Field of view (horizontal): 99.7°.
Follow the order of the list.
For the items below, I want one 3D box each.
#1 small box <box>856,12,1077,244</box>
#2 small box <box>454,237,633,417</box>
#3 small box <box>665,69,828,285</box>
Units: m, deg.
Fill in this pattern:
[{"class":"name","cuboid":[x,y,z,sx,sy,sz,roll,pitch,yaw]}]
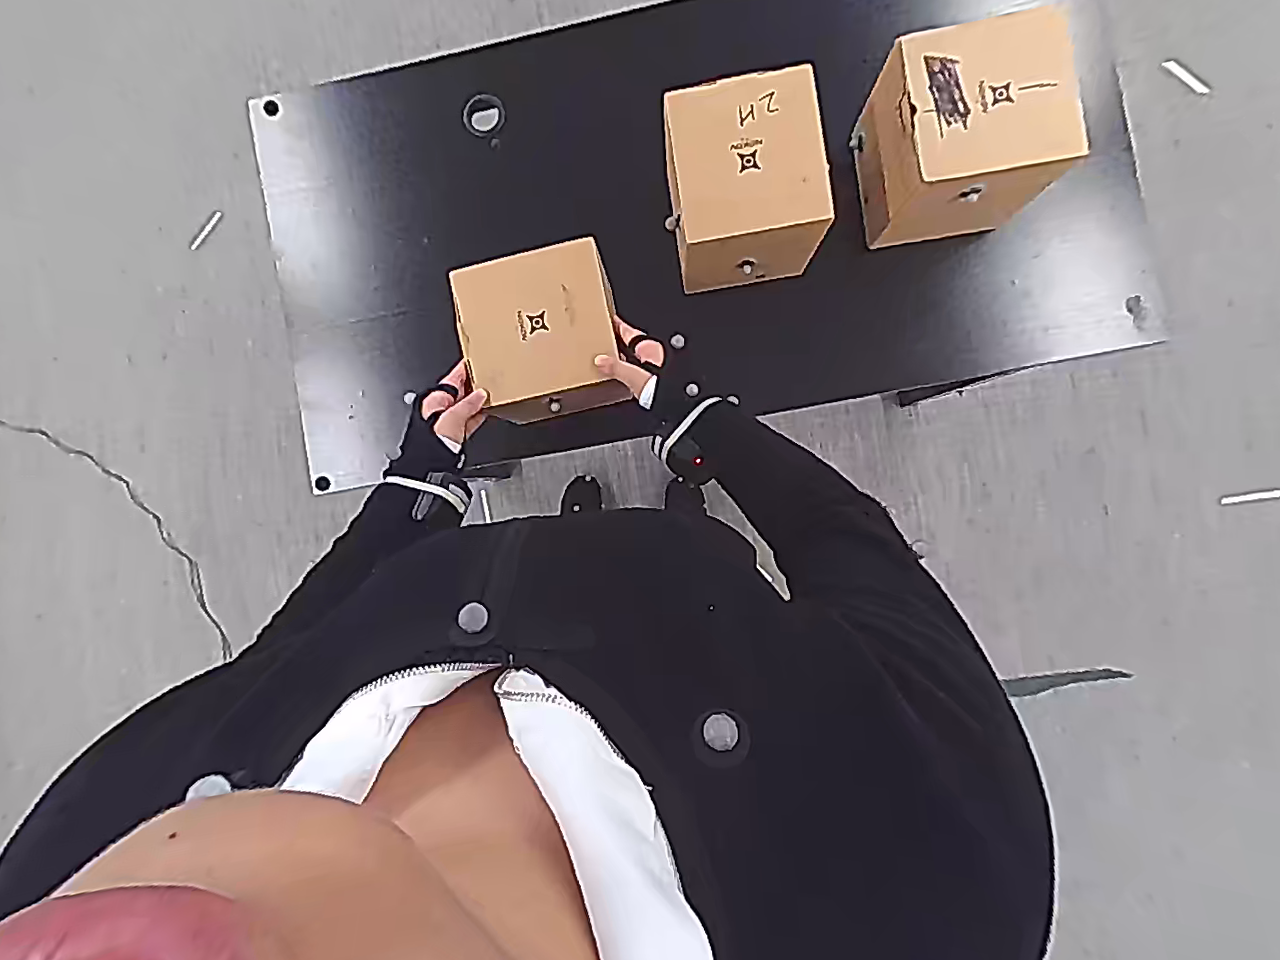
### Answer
[{"class":"small box","cuboid":[0.381,-0.415,0.669,0.179,0.176,0.168,-8,89,4]},{"class":"small box","cuboid":[-0.114,-0.185,0.709,0.179,0.176,0.168,-13,90,3]},{"class":"small box","cuboid":[0.126,-0.364,0.688,0.168,0.176,0.179,-8,89,4]}]
